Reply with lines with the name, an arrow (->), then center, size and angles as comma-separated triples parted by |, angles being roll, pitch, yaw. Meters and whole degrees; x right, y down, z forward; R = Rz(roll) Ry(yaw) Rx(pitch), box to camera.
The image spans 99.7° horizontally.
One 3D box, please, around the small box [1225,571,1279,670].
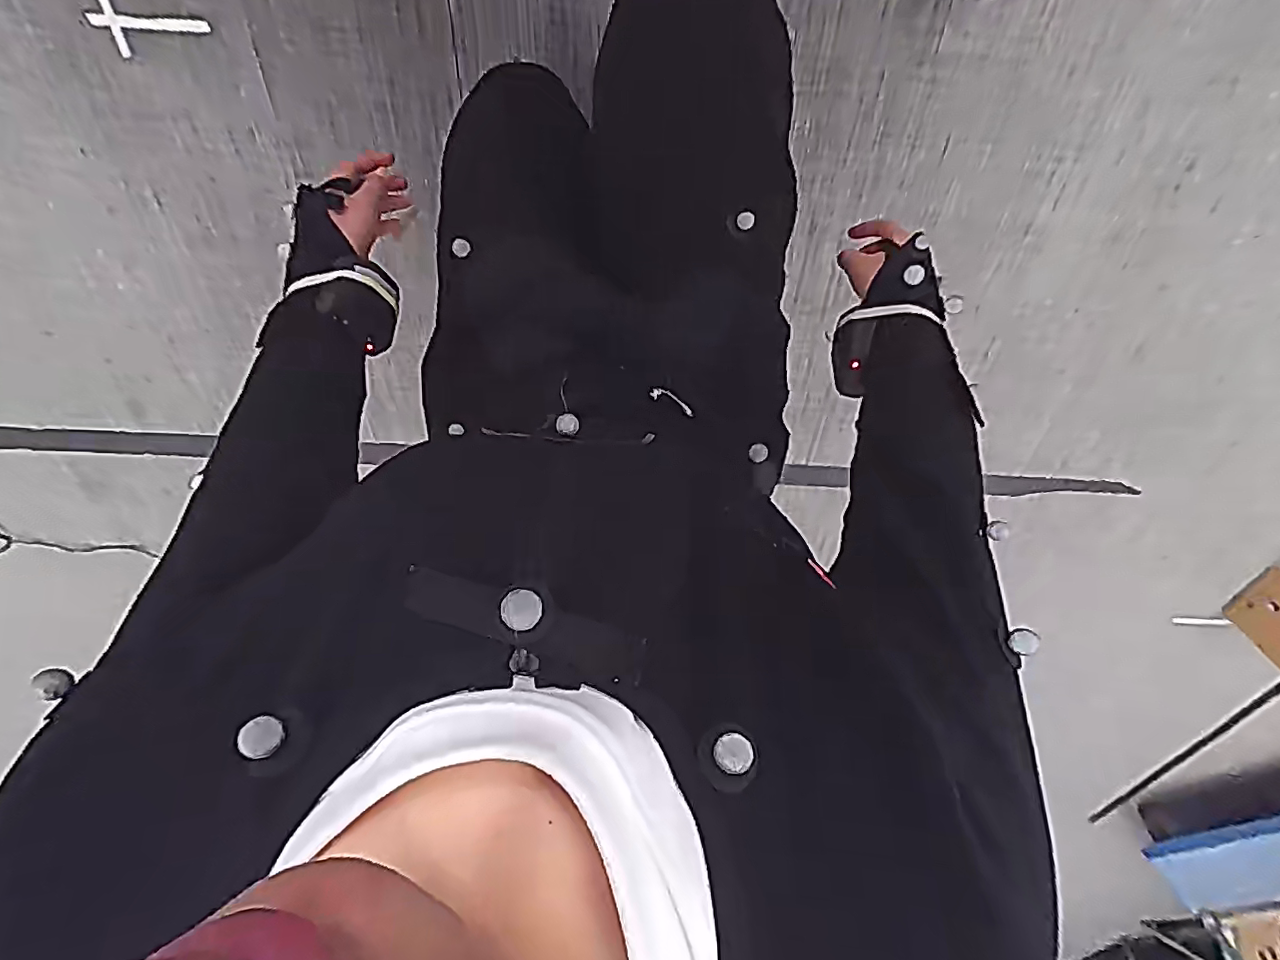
small box -> 1.487, 0.312, 1.189 | 0.179, 0.176, 0.168 | 3, 128, -2
